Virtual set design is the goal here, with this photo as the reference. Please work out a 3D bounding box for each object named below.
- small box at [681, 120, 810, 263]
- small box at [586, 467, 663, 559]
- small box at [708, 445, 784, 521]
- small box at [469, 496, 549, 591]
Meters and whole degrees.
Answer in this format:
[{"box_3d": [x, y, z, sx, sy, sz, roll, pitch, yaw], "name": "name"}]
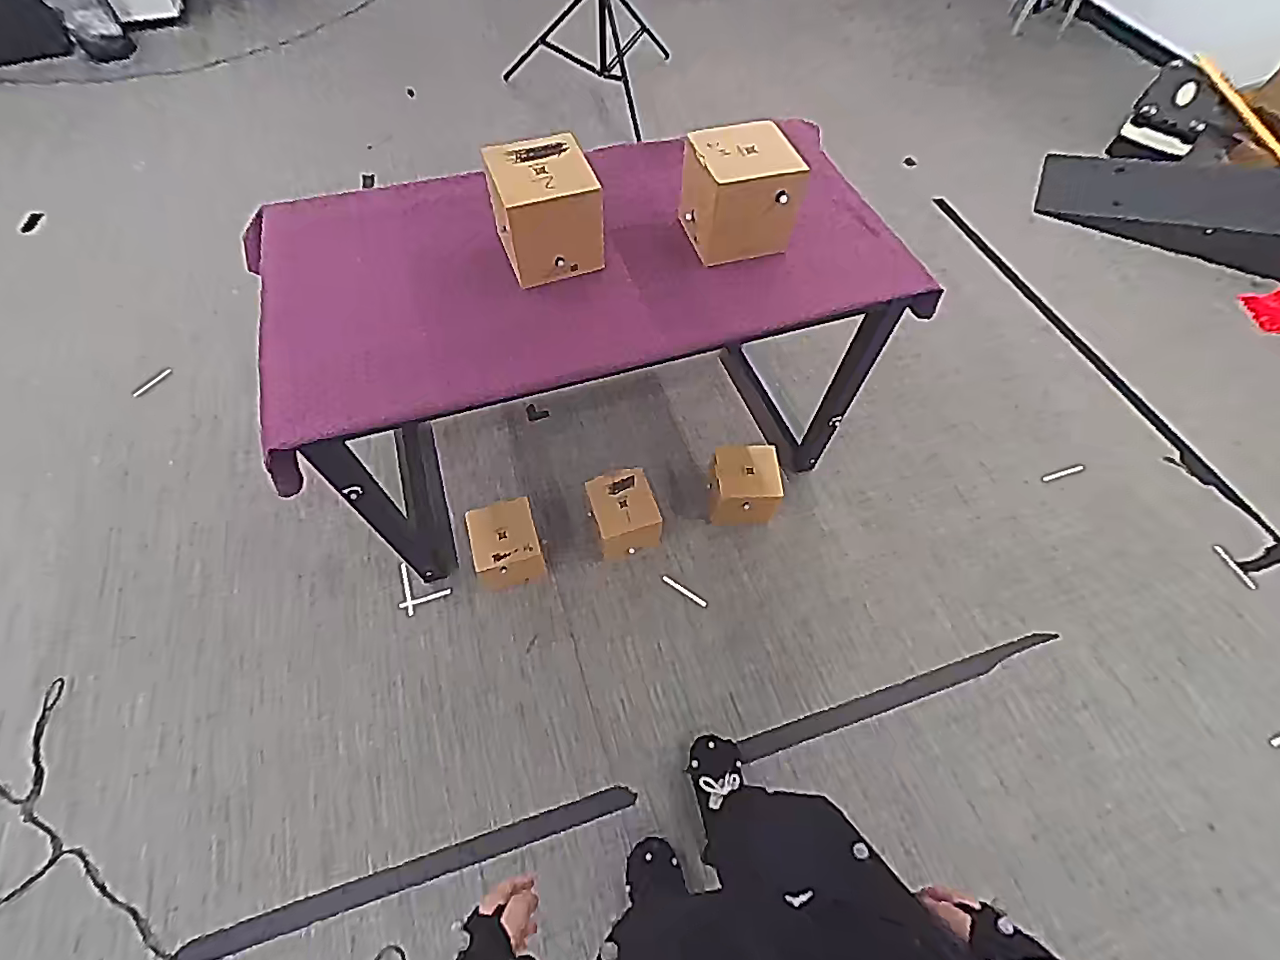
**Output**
[{"box_3d": [0.189, -0.542, 1.025, 0.179, 0.176, 0.168, -14, 61, -9], "name": "small box"}, {"box_3d": [-0.046, 0.094, 1.498, 0.168, 0.176, 0.179, -16, 63, -10], "name": "small box"}, {"box_3d": [0.297, 0.012, 1.554, 0.179, 0.176, 0.168, -1, 61, -1], "name": "small box"}, {"box_3d": [-0.348, 0.173, 1.446, 0.168, 0.176, 0.179, -14, 61, -9], "name": "small box"}]
